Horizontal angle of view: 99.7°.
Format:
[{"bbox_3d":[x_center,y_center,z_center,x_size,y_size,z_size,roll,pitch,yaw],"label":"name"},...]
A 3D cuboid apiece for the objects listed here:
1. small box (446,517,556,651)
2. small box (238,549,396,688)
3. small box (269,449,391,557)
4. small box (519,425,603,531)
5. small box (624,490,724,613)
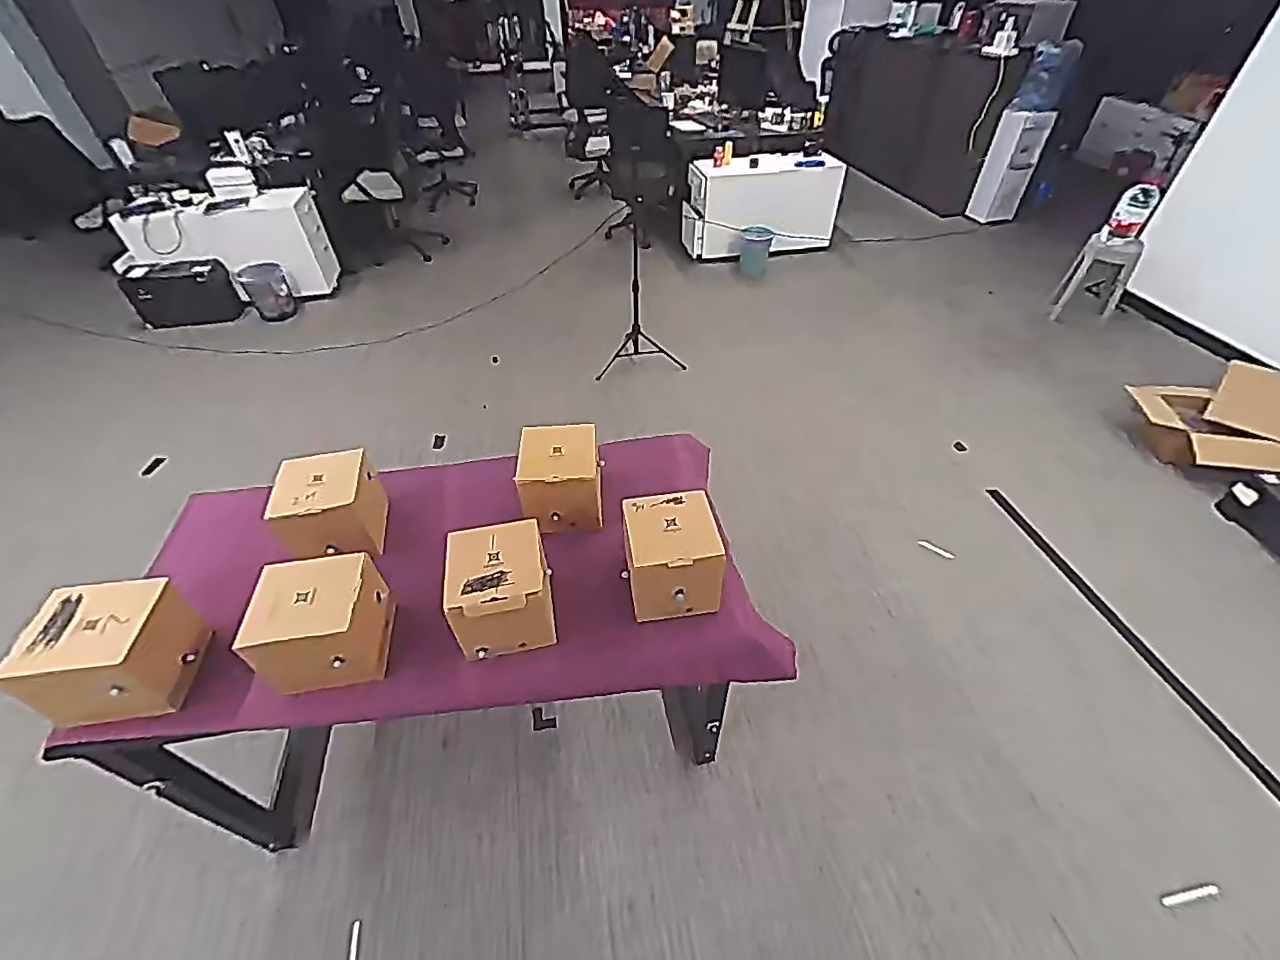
[{"bbox_3d":[-0.252,0.199,1.006,0.168,0.176,0.179,-8,43,-8],"label":"small box"},{"bbox_3d":[-0.554,0.247,0.961,0.179,0.176,0.168,-7,44,-7],"label":"small box"},{"bbox_3d":[-0.652,0.059,1.164,0.168,0.176,0.179,-10,45,-9],"label":"small box"},{"bbox_3d":[-0.171,-0.004,1.222,0.168,0.176,0.179,-3,45,-2],"label":"small box"},{"bbox_3d":[0.062,0.144,1.054,0.168,0.176,0.179,-6,42,-5],"label":"small box"}]
